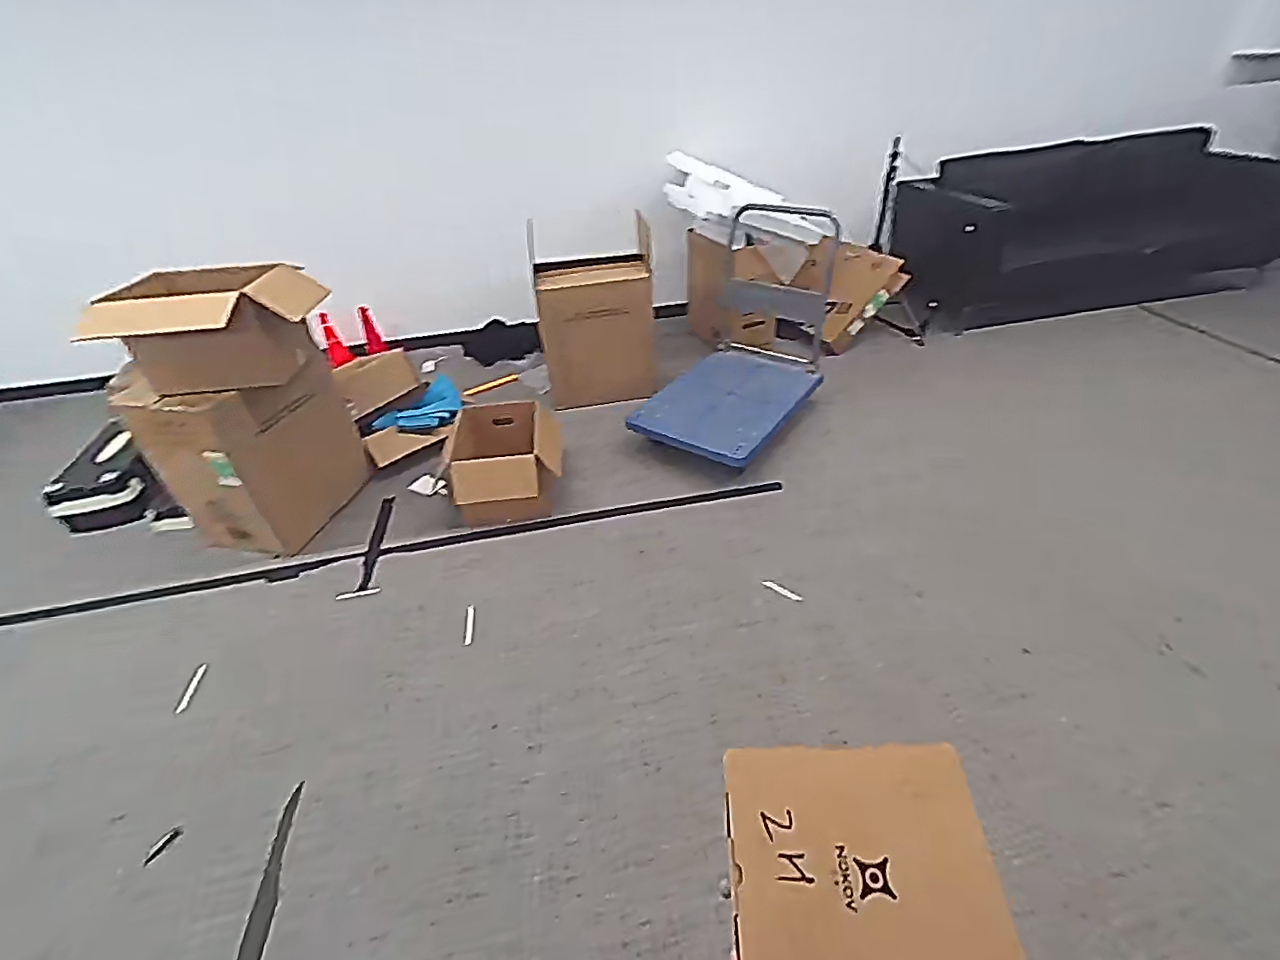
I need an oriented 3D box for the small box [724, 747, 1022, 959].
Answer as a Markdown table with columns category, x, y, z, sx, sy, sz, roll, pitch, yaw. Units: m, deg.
| category | x | y | z | sx | sy | sz | roll | pitch | yaw |
| --- | --- | --- | --- | --- | --- | --- | --- | --- | --- |
| small box | 0.162 | 0.321 | 0.427 | 0.179 | 0.176 | 0.168 | -6 | 48 | 9 |
